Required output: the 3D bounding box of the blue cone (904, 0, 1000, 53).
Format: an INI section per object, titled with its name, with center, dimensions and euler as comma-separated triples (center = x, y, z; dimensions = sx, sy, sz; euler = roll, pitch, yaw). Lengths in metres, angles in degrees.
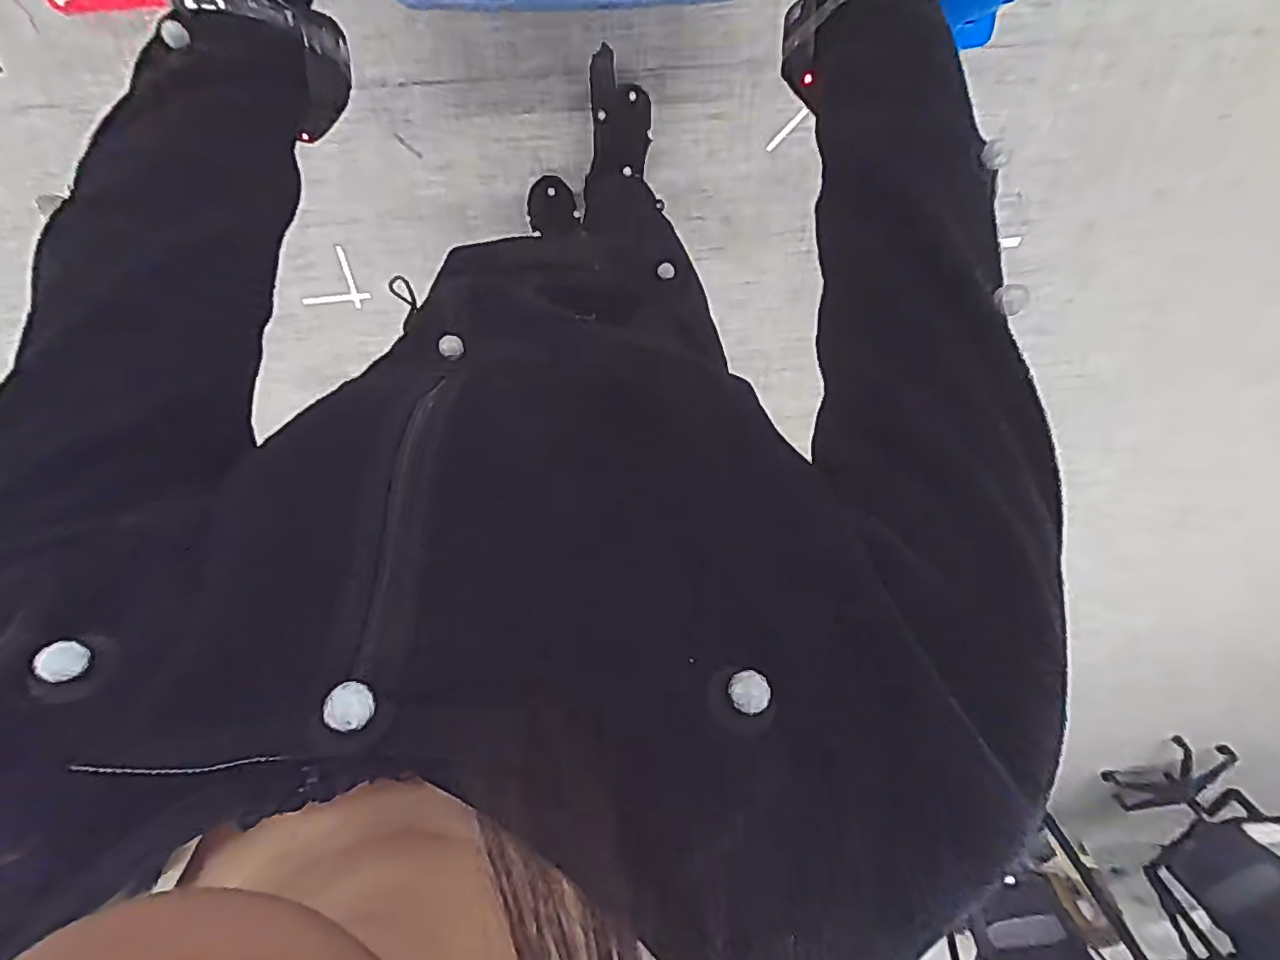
[blue cone]
center = 0.621, -0.859, 0.900
dimensions = 0.193, 0.380, 0.192
euler = -8, 123, -1
